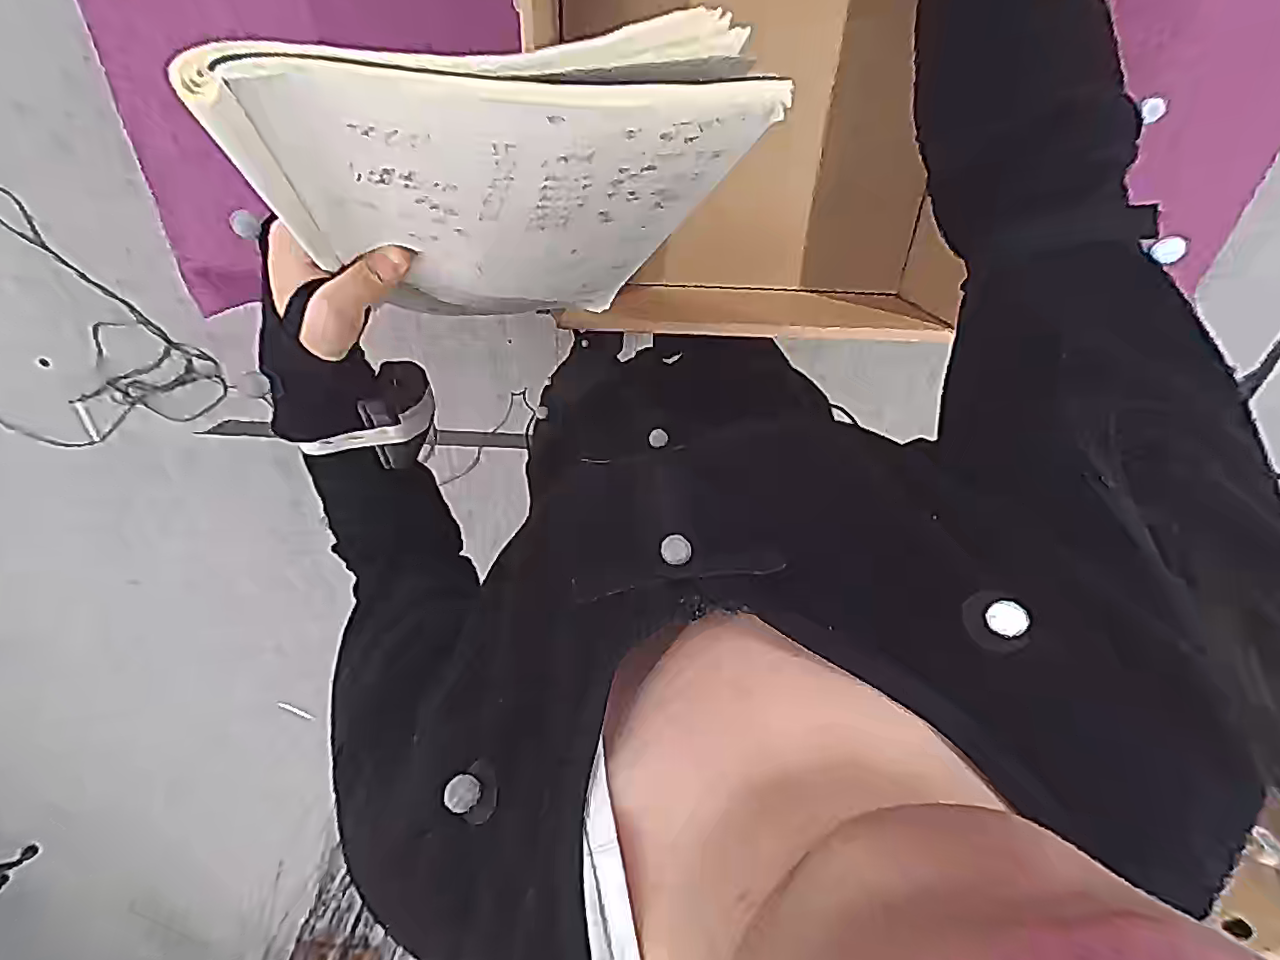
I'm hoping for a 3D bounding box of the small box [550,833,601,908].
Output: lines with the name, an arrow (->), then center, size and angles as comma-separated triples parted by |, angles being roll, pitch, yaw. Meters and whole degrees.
small box -> -0.225, 1.363, 1.893 | 0.168, 0.176, 0.179 | 4, 122, -6
